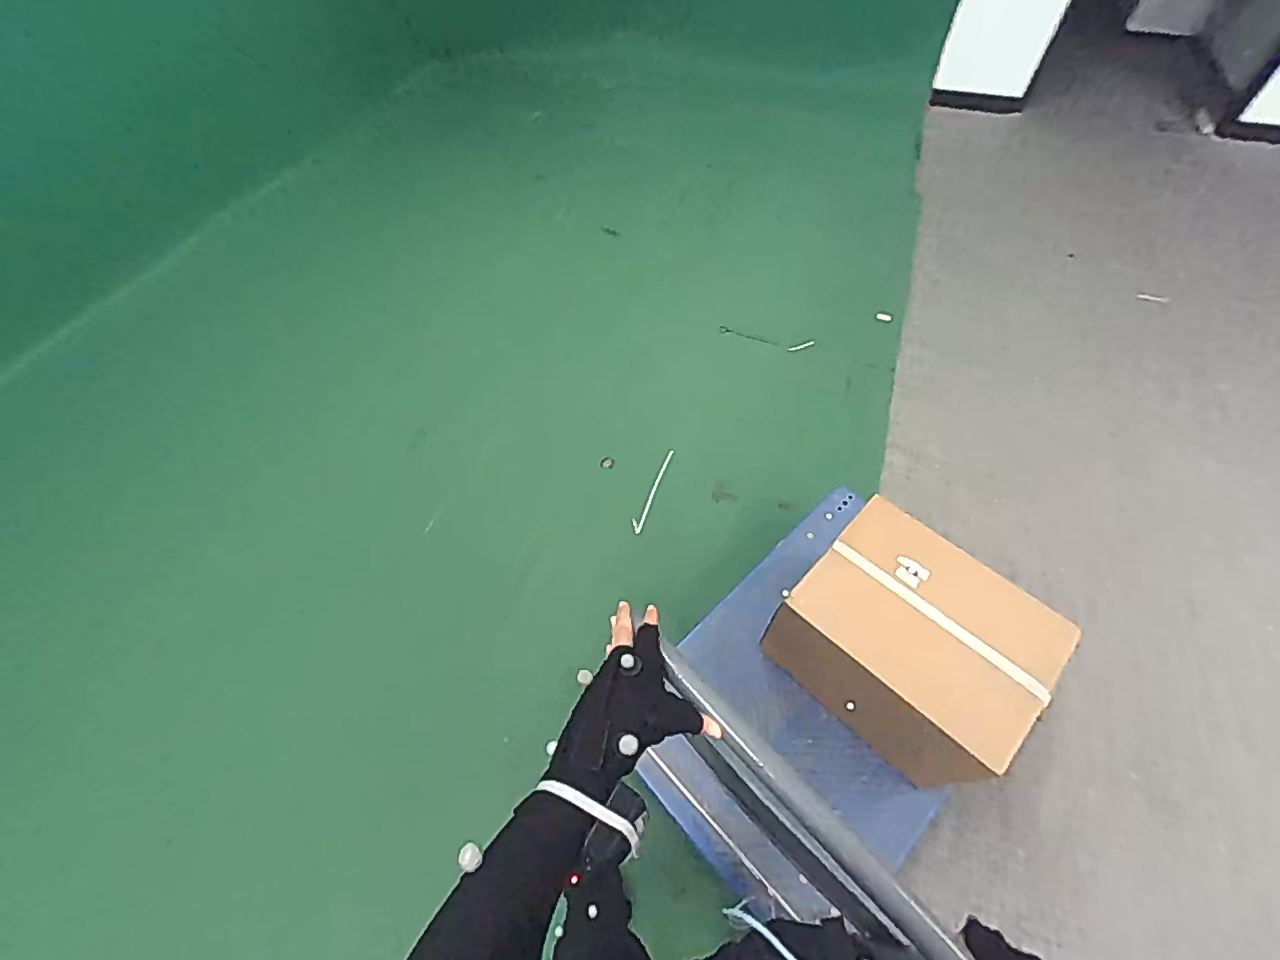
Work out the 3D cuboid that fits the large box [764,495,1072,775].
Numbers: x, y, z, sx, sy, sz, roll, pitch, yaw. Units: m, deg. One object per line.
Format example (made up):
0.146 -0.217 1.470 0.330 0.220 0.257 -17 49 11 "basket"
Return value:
0.516 0.312 1.087 0.408 0.320 0.320 38 66 24 "large box"
